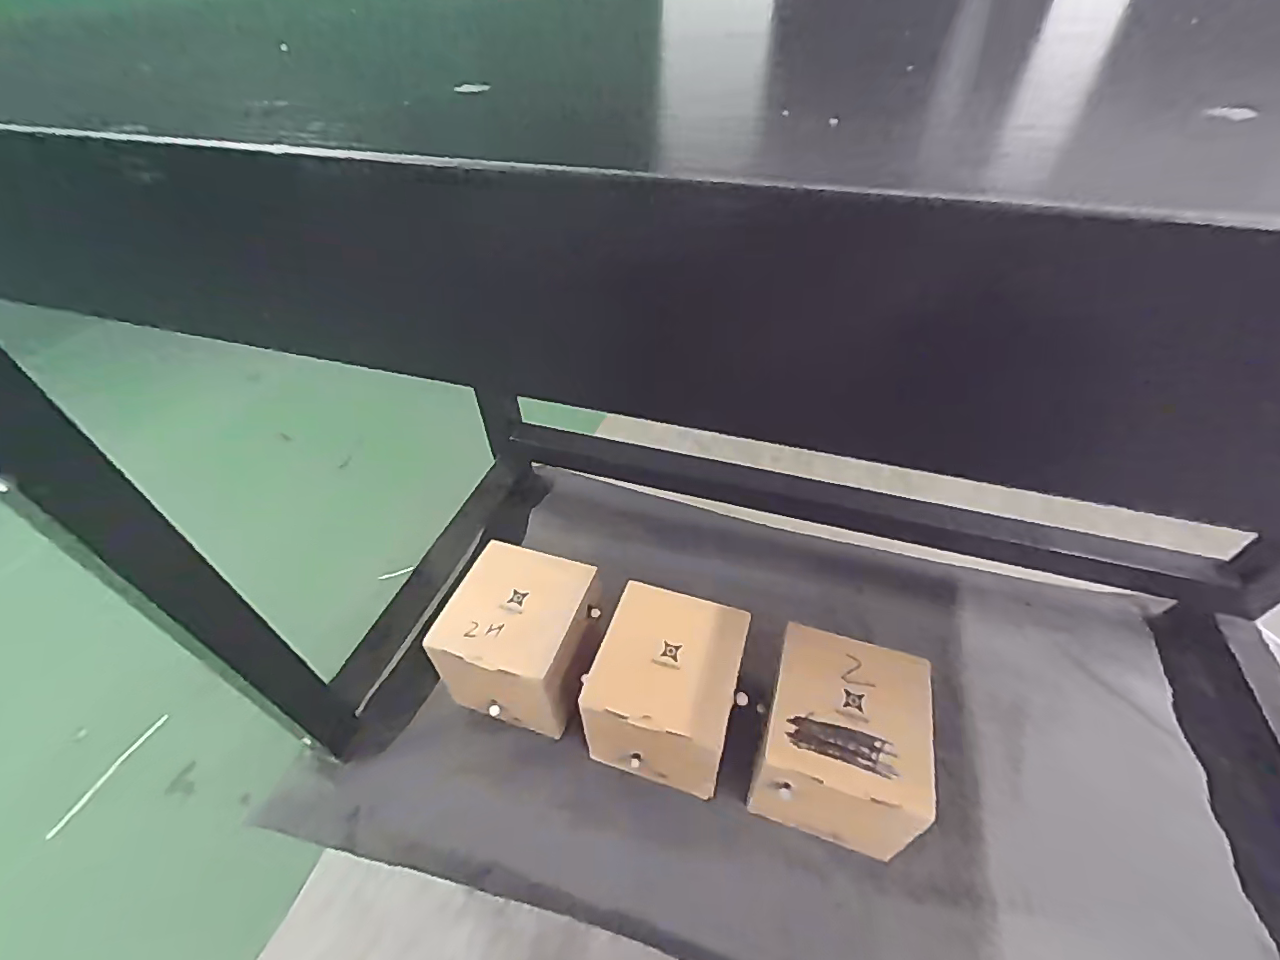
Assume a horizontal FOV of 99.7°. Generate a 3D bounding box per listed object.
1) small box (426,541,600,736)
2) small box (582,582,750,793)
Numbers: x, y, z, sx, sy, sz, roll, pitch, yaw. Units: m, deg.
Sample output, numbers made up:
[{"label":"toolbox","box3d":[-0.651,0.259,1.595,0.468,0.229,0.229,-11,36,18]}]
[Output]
[{"label":"small box","box3d":[-0.160,0.219,0.753,0.168,0.176,0.179,13,46,14]},{"label":"small box","box3d":[0.035,0.268,0.702,0.168,0.176,0.179,13,46,13]}]
